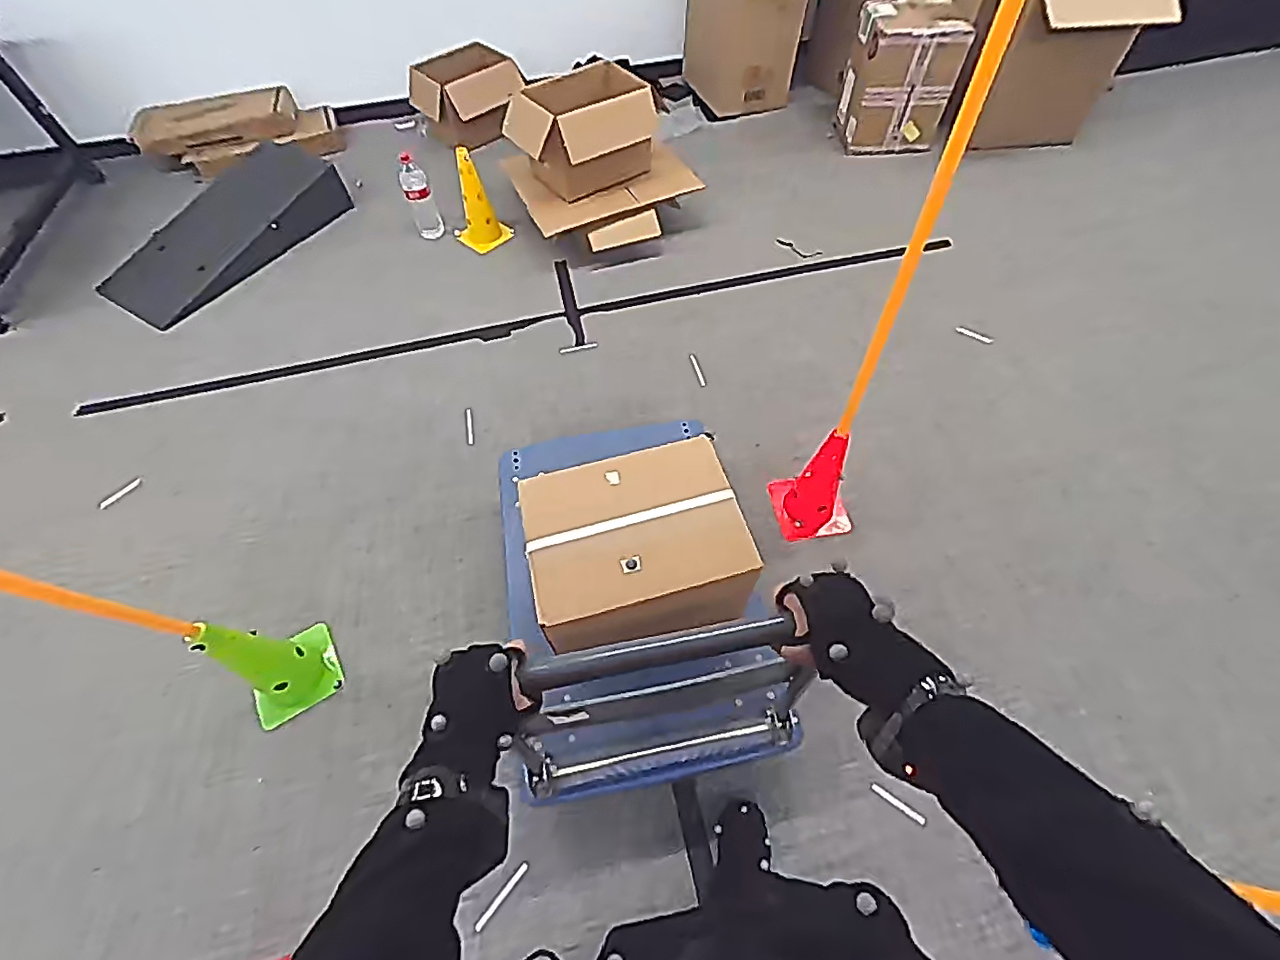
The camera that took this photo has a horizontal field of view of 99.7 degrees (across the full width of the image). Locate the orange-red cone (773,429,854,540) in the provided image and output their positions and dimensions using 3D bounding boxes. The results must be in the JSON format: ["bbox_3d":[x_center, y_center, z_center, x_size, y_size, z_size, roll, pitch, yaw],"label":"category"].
[{"bbox_3d":[0.494,-0.013,1.424,0.199,0.360,0.198,-6,58,-3],"label":"orange-red cone"}]

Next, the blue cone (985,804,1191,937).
[{"bbox_3d":[0.825,0.702,0.966,0.193,0.380,0.192,-15,57,-8],"label":"blue cone"}]
